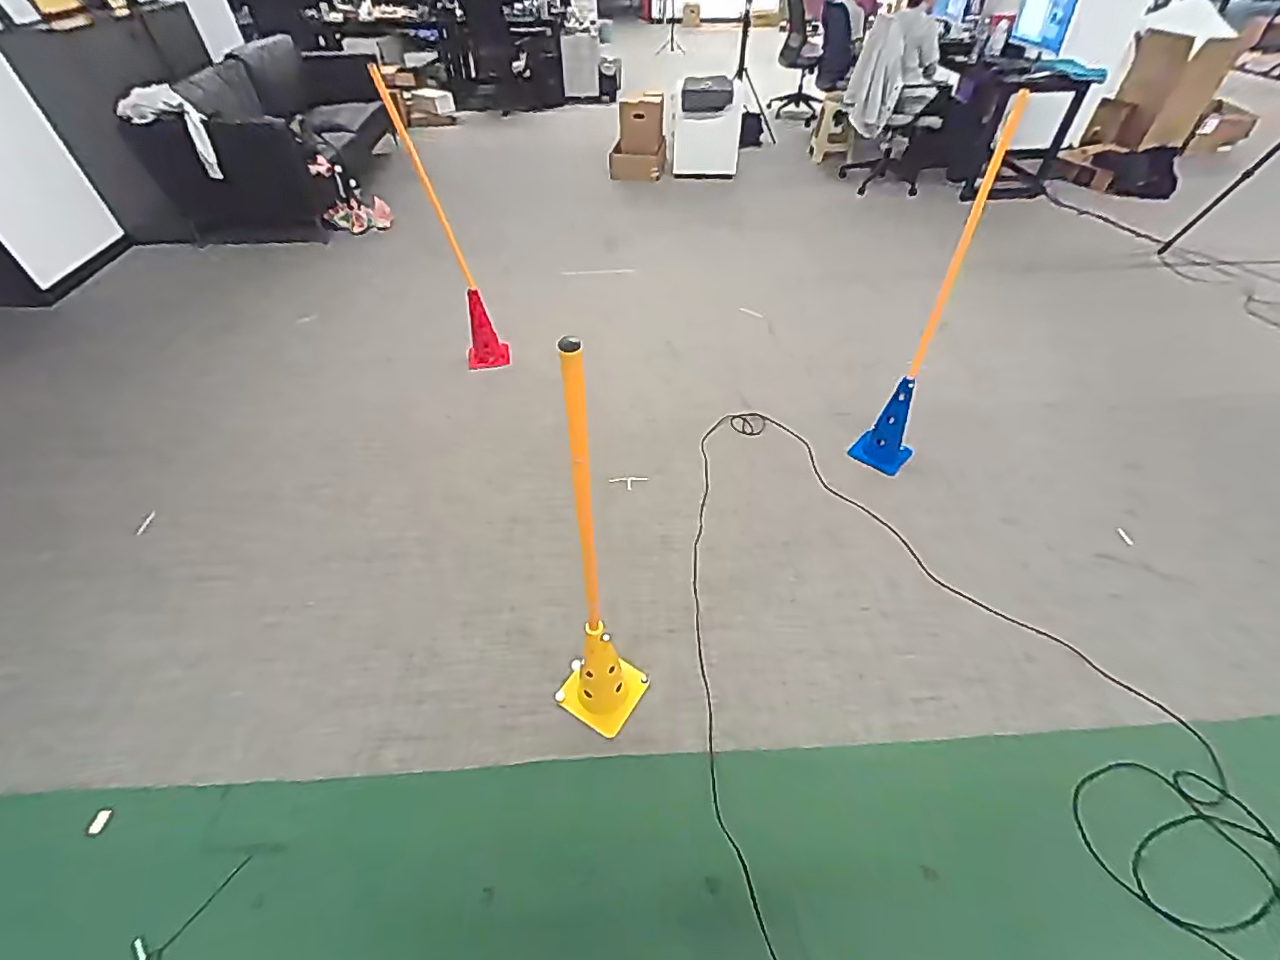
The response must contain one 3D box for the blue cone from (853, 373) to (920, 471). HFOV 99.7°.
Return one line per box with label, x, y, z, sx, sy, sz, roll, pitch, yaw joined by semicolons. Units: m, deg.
blue cone;0.964;-0.238;2.045;0.192;0.380;0.193;31;51;28
